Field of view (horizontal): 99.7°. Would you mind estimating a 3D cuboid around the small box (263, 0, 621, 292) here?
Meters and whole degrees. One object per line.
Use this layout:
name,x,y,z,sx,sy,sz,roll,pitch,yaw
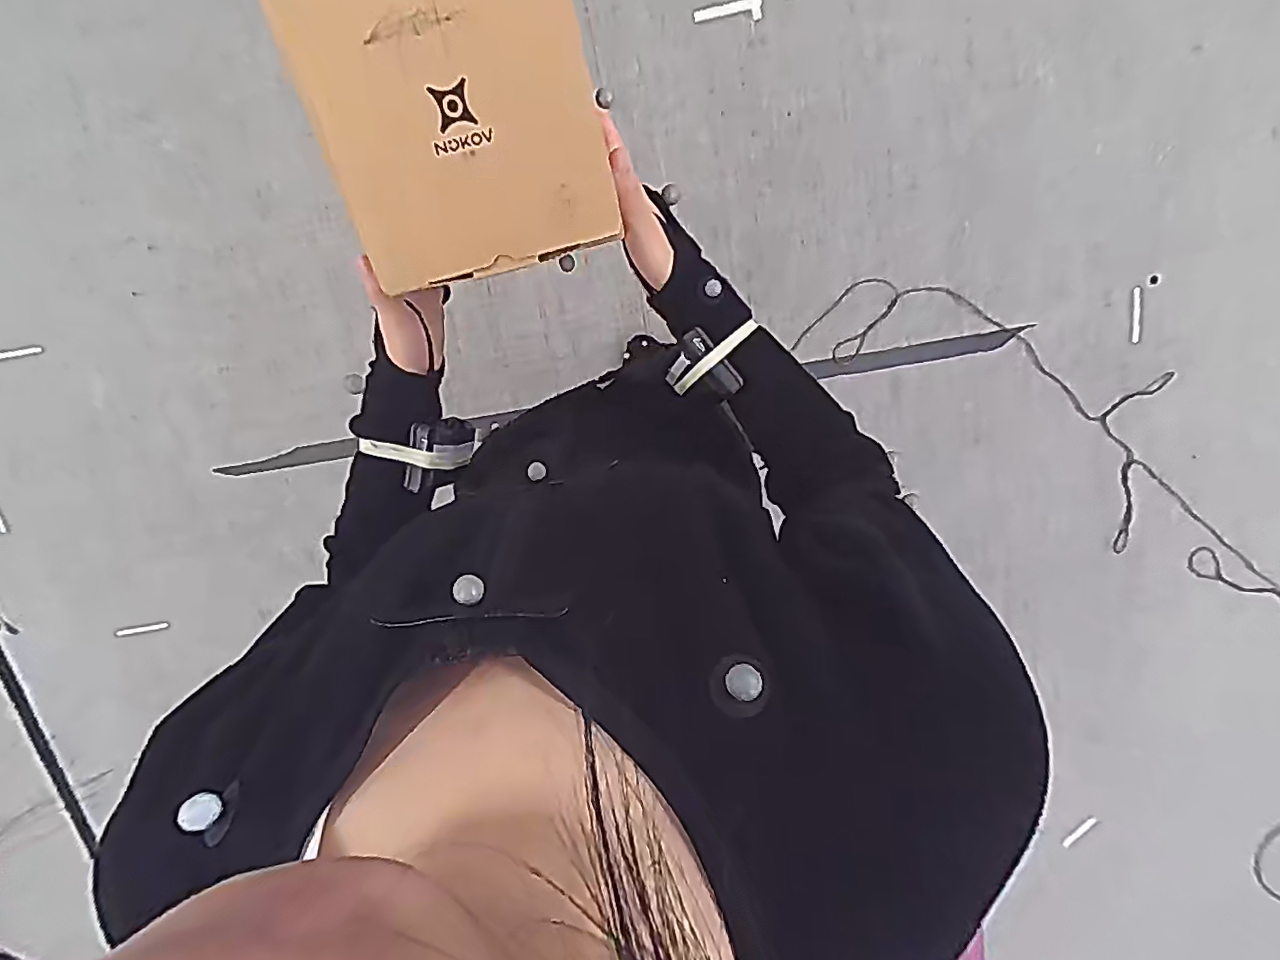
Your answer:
small box,-0.115,-0.252,0.389,0.168,0.176,0.179,-15,114,1
